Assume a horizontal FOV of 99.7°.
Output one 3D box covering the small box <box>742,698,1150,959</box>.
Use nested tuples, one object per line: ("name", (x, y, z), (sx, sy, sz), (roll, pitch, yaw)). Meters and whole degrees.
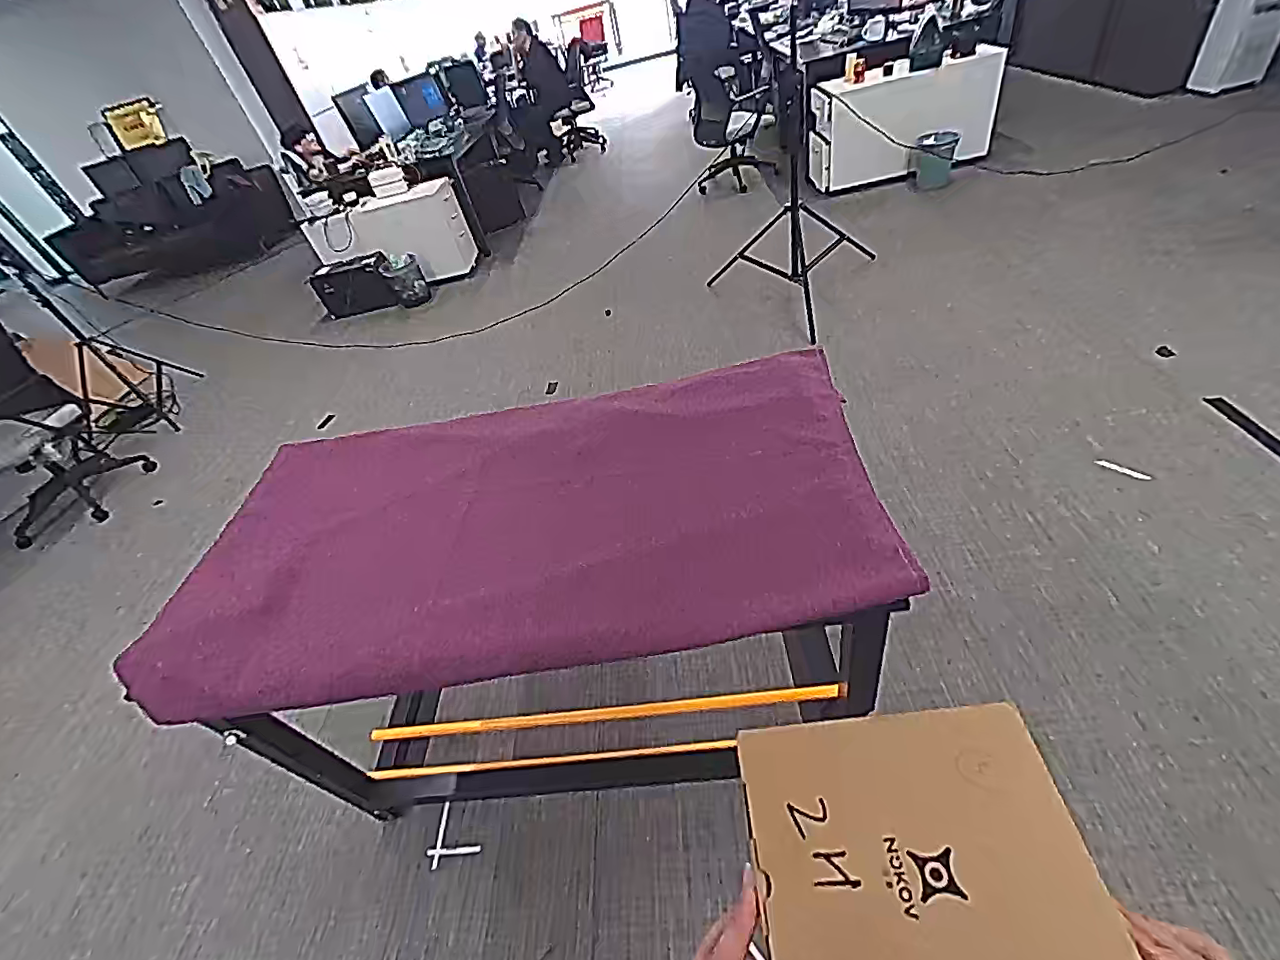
("small box", (0.168, 0.259, 0.348), (0.179, 0.176, 0.168), (-10, 46, 8))
